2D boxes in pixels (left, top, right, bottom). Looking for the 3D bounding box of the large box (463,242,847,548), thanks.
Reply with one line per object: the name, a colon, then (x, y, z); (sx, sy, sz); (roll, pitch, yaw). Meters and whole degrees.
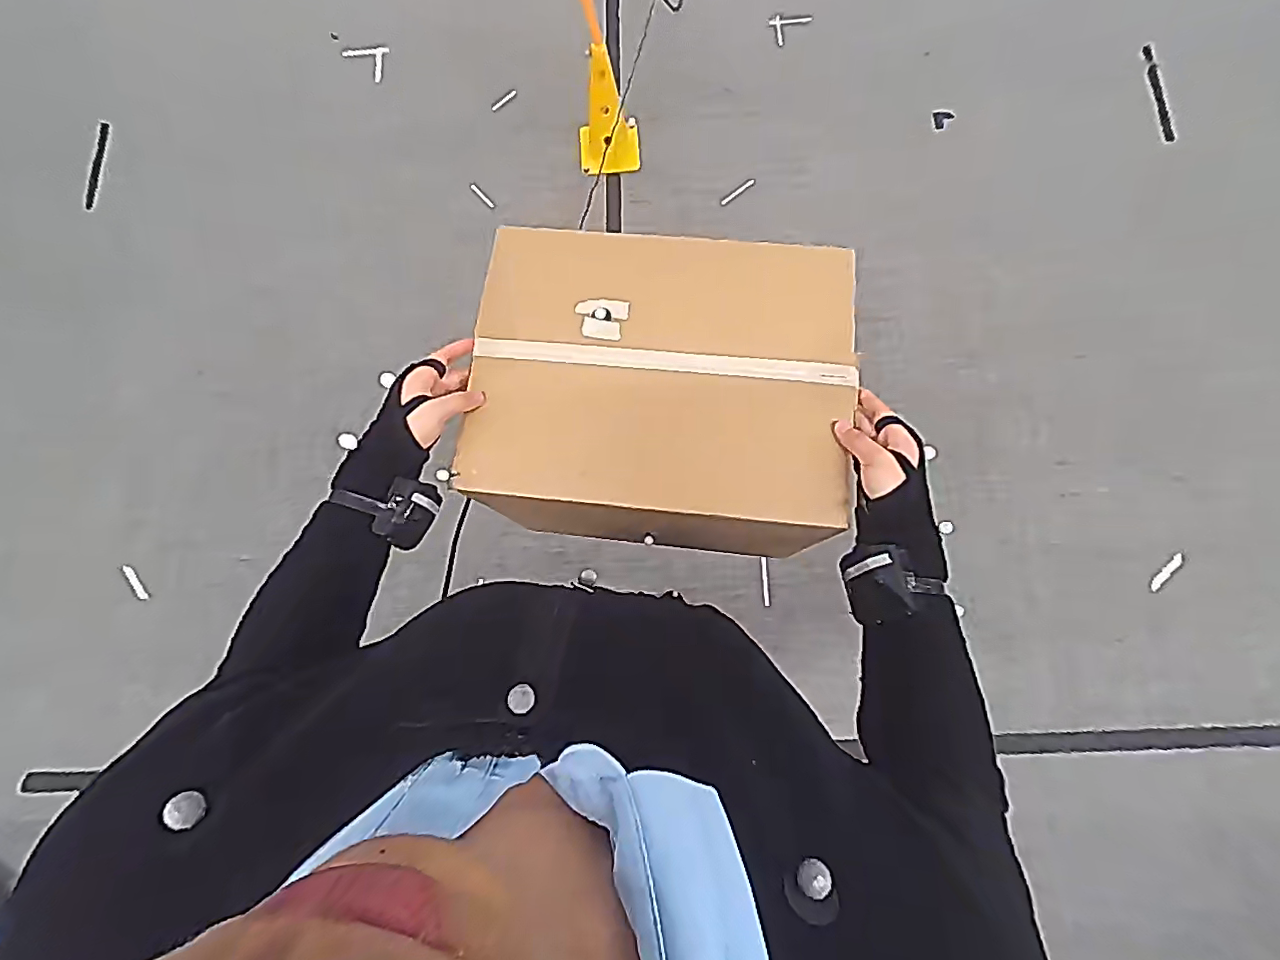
large box: (0.031, -0.087, 0.731); (0.408, 0.320, 0.320); (4, 75, 4)
